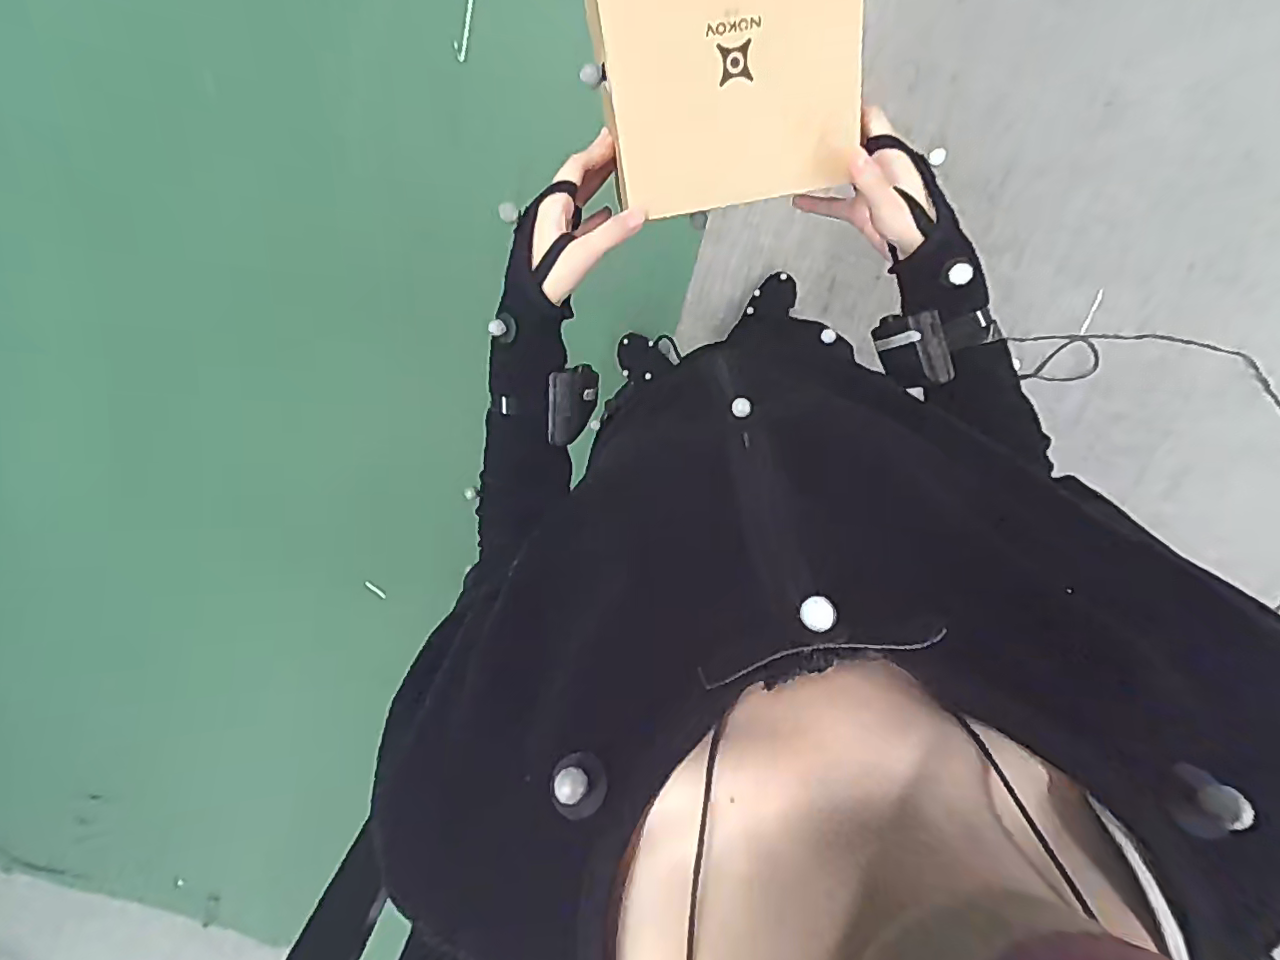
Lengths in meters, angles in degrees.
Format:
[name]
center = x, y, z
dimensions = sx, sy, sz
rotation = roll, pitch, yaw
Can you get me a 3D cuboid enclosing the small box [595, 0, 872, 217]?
[small box]
center = 0.059, -0.309, 0.409
dimensions = 0.168, 0.176, 0.179
rotation = -10, 116, 0
